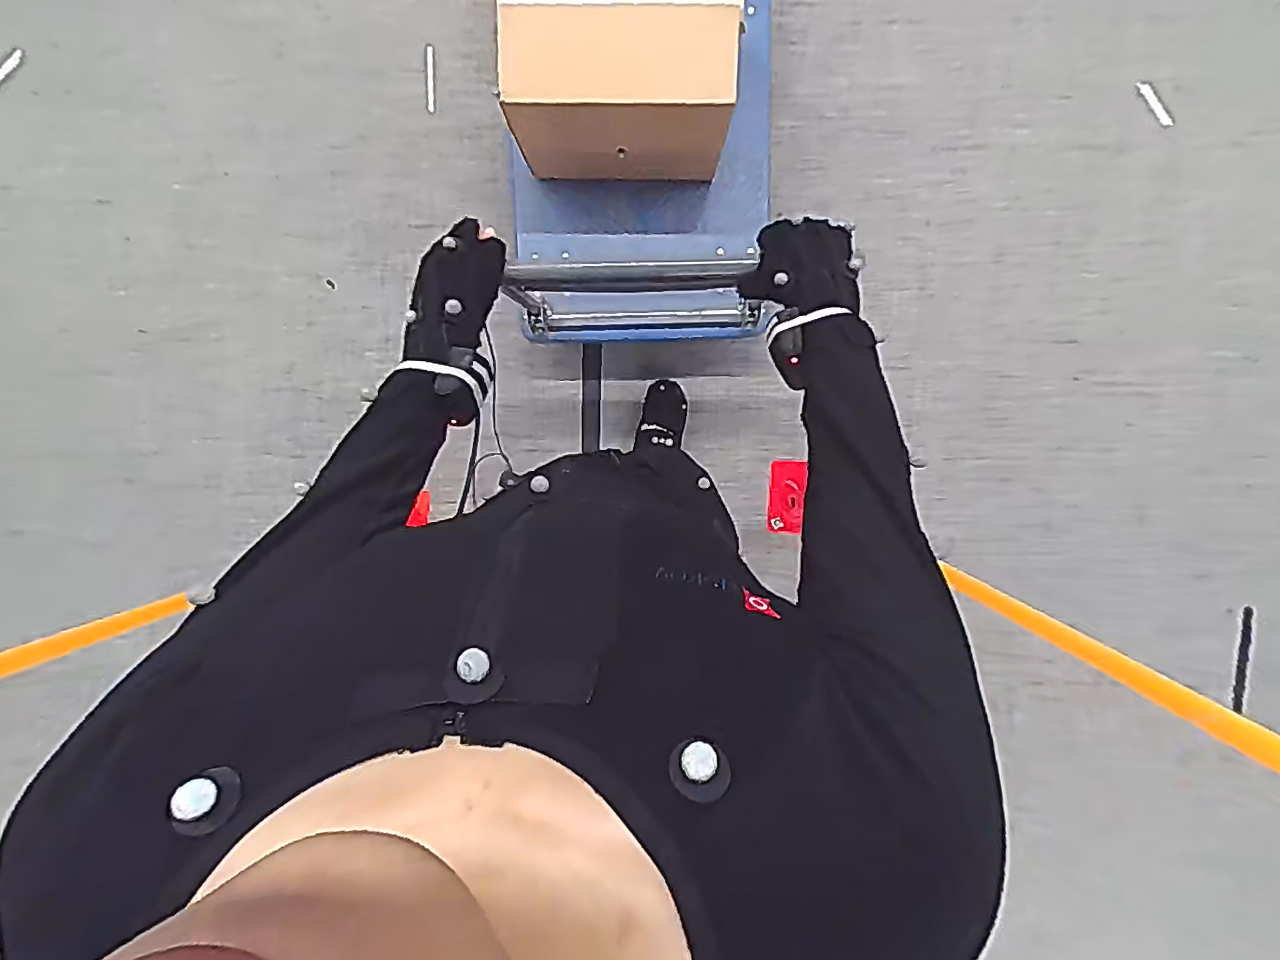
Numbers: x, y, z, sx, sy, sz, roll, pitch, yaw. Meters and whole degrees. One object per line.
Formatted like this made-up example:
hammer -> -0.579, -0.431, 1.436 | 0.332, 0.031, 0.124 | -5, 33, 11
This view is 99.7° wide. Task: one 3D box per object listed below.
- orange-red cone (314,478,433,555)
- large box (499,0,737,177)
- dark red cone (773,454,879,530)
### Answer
orange-red cone -> -0.675, 0.118, 1.318 | 0.198, 0.360, 0.199 | 8, 96, -1
large box -> -0.032, -0.810, 1.046 | 0.408, 0.320, 0.320 | 0, 97, 1
dark red cone -> 0.456, 0.053, 1.271 | 0.201, 0.394, 0.202 | 1, 97, -1
